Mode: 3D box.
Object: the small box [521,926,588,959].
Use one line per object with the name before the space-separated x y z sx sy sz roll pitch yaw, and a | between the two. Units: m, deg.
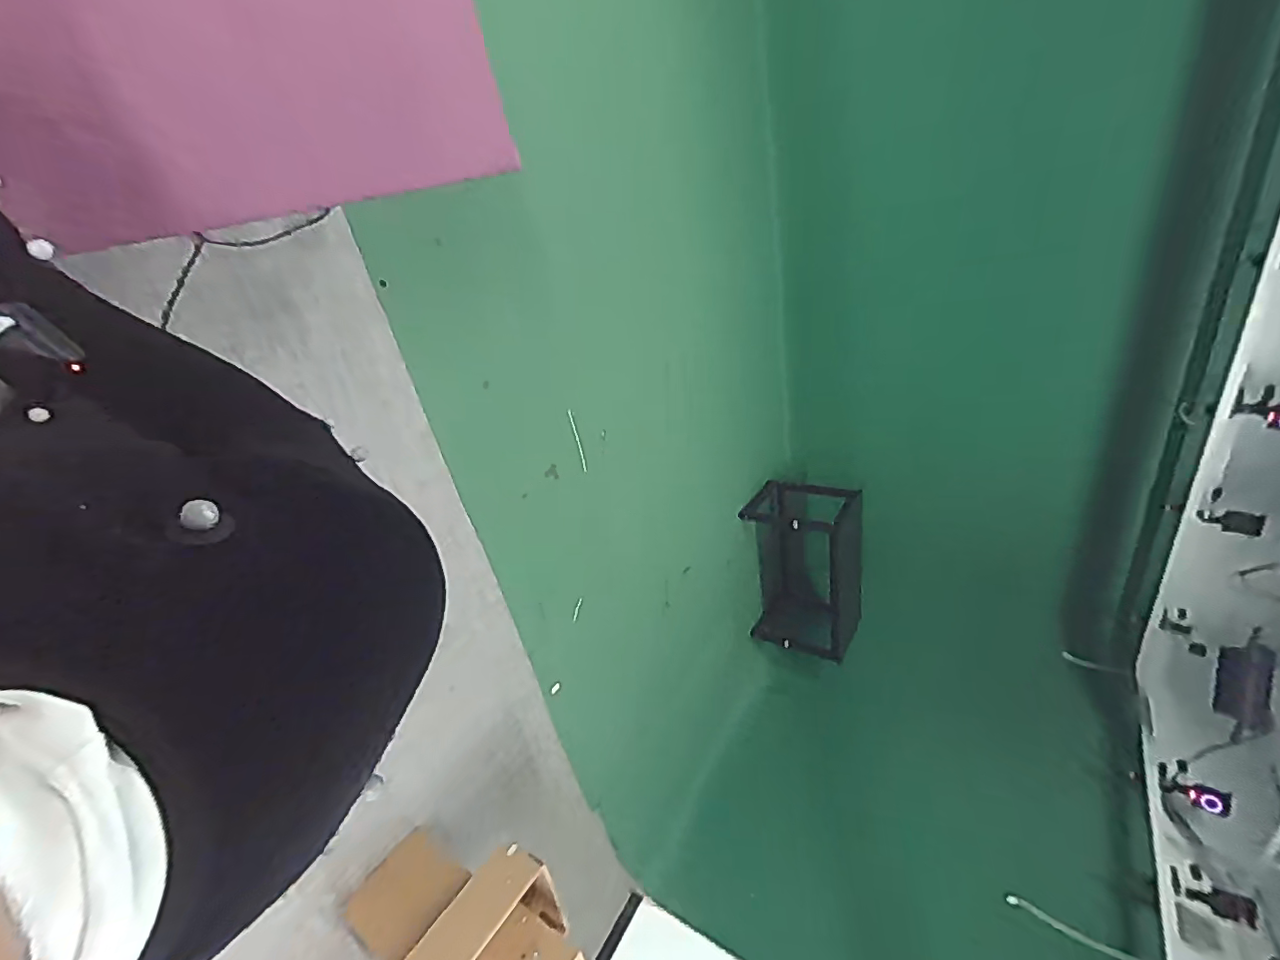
small box | -0.266 1.539 1.667 0.168 0.176 0.179 -38 126 -46
